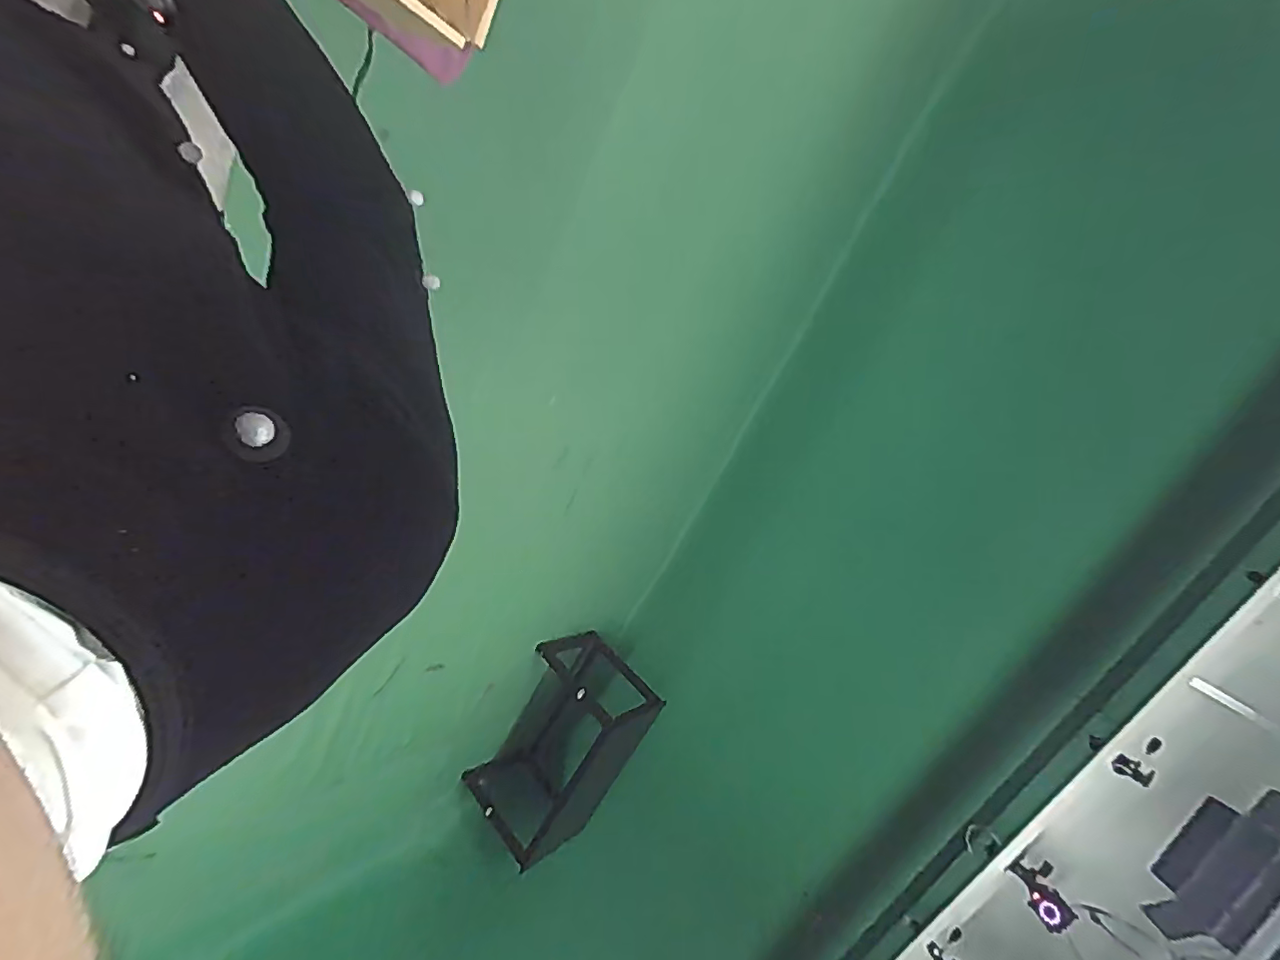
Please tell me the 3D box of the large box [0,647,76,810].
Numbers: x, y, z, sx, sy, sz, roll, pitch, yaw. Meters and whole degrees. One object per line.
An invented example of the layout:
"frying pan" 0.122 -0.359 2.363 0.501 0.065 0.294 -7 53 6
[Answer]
"large box" -1.727 0.658 1.295 0.408 0.320 0.320 -32 146 -33
